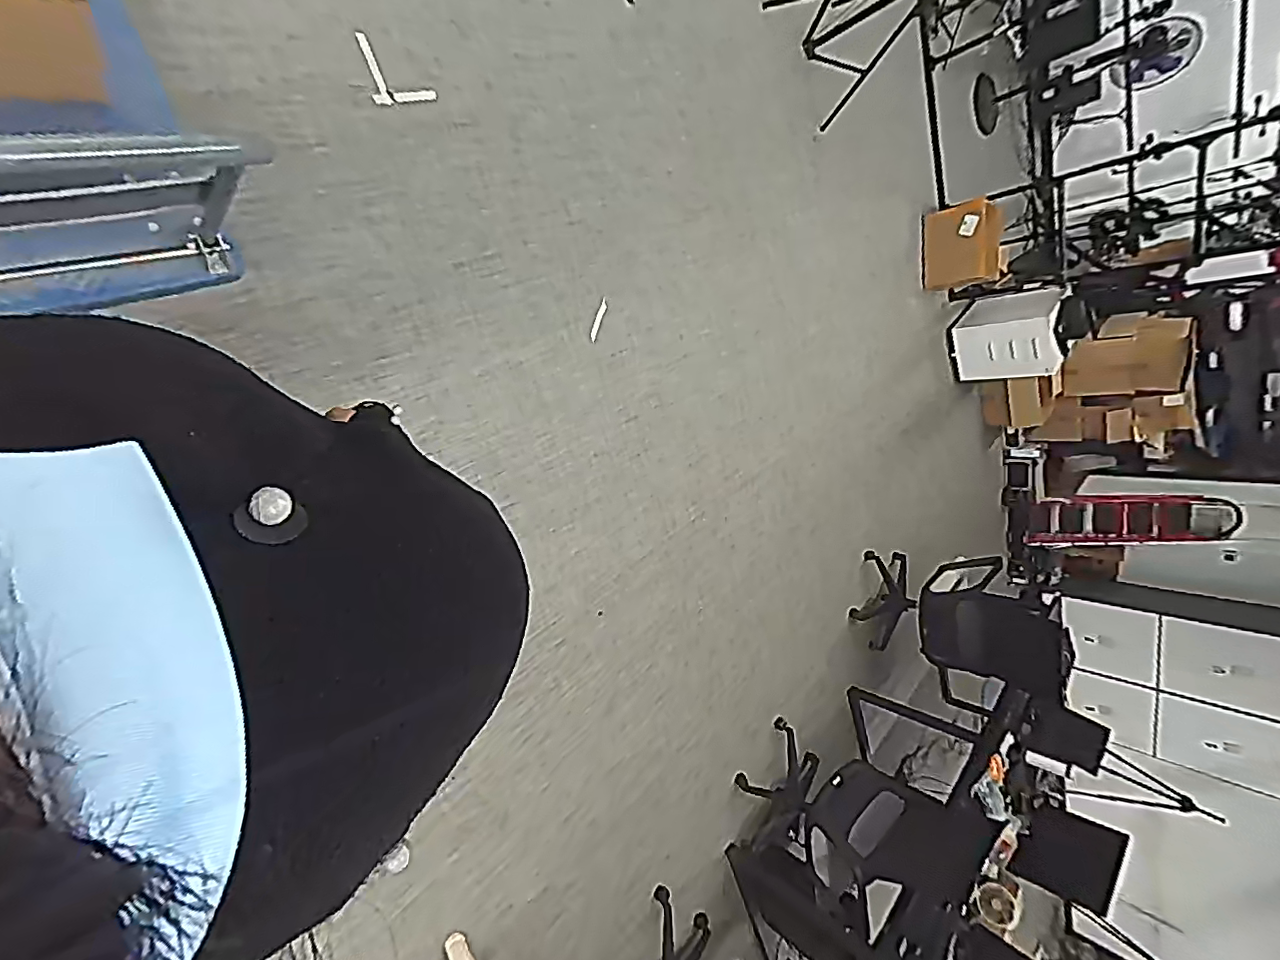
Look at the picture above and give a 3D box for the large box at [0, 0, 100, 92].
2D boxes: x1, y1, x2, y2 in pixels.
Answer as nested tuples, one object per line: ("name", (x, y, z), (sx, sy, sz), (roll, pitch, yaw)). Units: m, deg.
("large box", (-1.017, -0.720, 0.665), (0.408, 0.320, 0.320), (-28, 111, -35))
